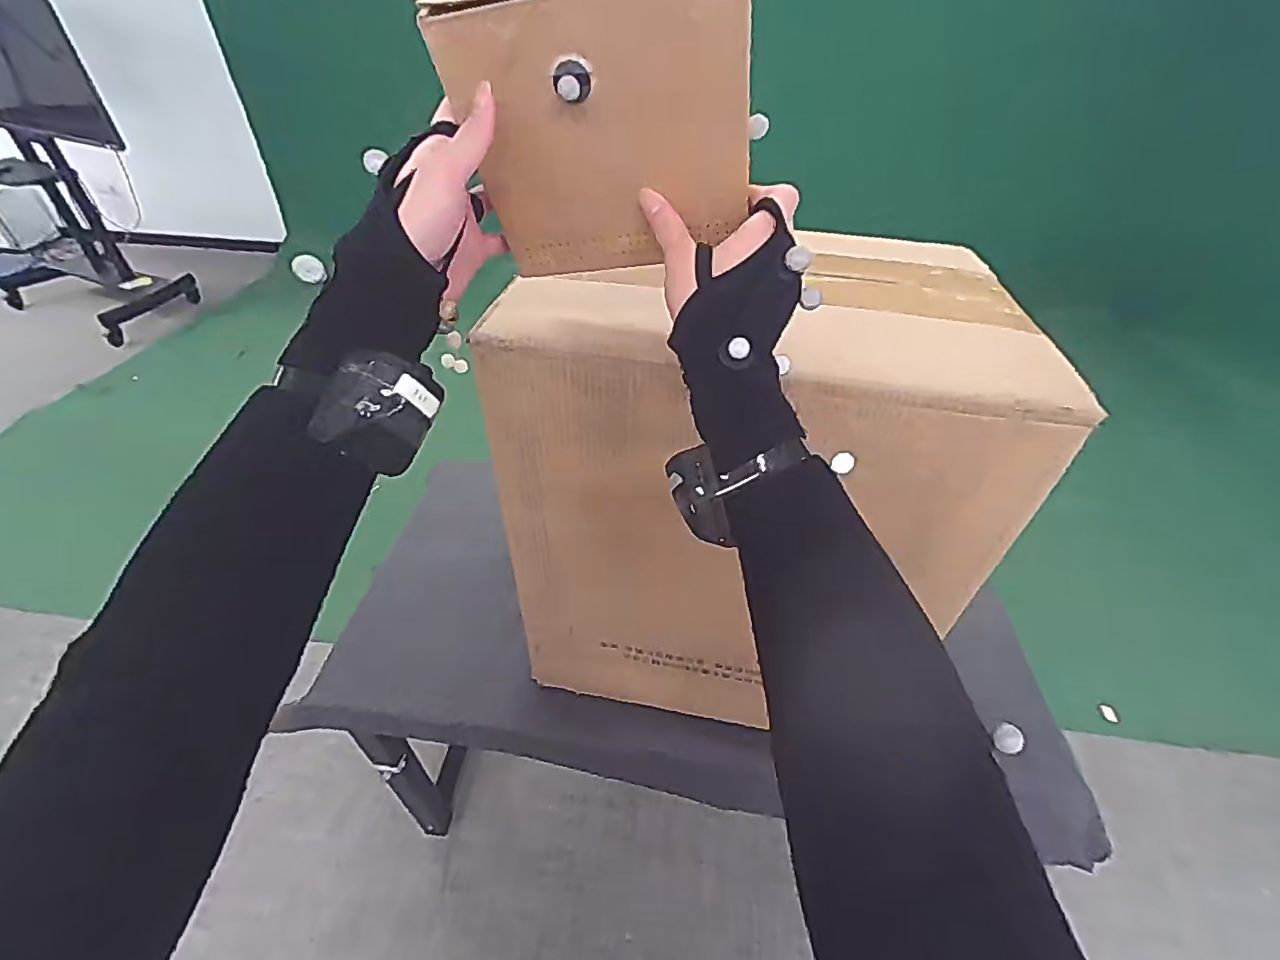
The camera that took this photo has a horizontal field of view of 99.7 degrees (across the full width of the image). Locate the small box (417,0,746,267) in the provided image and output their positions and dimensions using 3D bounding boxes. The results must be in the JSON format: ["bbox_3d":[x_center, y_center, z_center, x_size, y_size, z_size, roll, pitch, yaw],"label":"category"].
[{"bbox_3d":[-0.017,-0.275,0.391,0.179,0.176,0.168,1,60,13],"label":"small box"}]
